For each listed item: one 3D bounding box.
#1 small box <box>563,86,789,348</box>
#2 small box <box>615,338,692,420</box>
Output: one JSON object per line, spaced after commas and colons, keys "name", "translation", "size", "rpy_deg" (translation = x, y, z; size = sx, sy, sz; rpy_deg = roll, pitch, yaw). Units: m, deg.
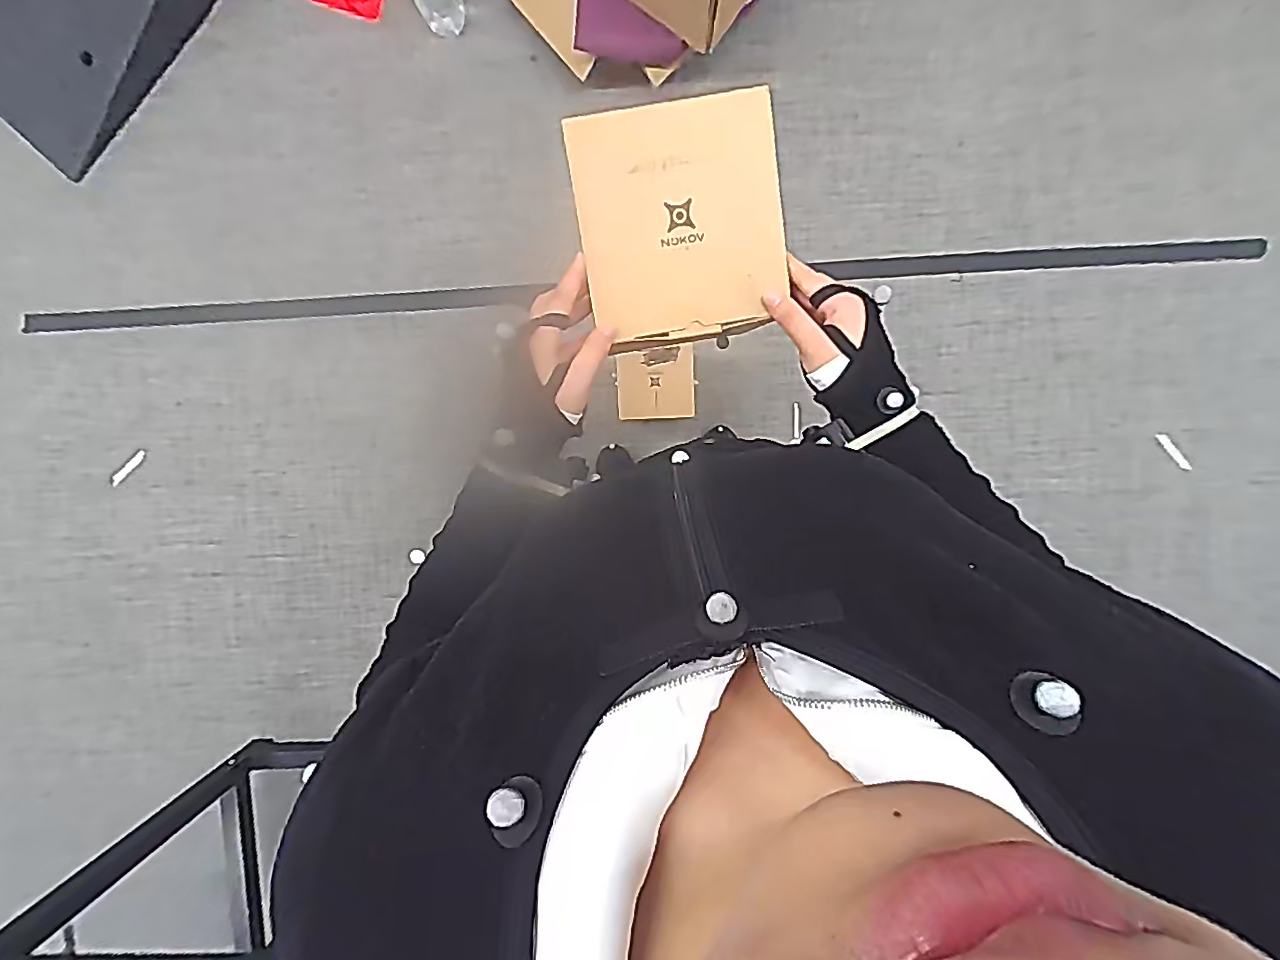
{"name": "small box", "translation": [0.030, -0.225, 0.514], "size": [0.168, 0.176, 0.179], "rpy_deg": [-10, 100, -1]}
{"name": "small box", "translation": [0.029, -0.227, 1.233], "size": [0.168, 0.176, 0.179], "rpy_deg": [-2, 96, 1]}
